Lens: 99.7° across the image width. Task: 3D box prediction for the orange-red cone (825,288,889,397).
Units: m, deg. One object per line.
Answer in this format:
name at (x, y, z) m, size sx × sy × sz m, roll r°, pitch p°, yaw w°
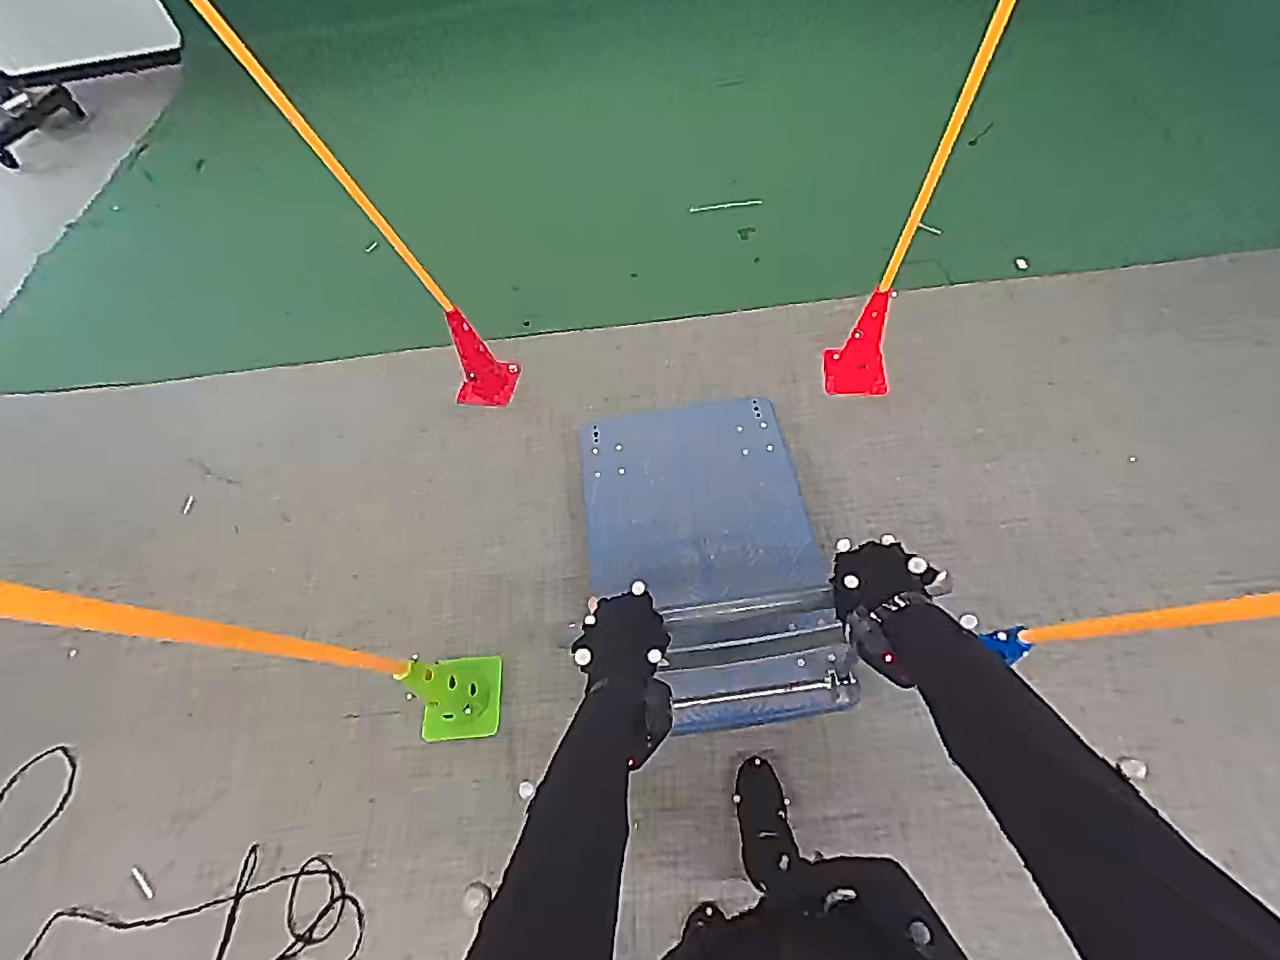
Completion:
orange-red cone at (0.711, -0.445, 1.686) m, size 0.198 × 0.360 × 0.199 m, roll 4°, pitch 61°, yaw 10°
